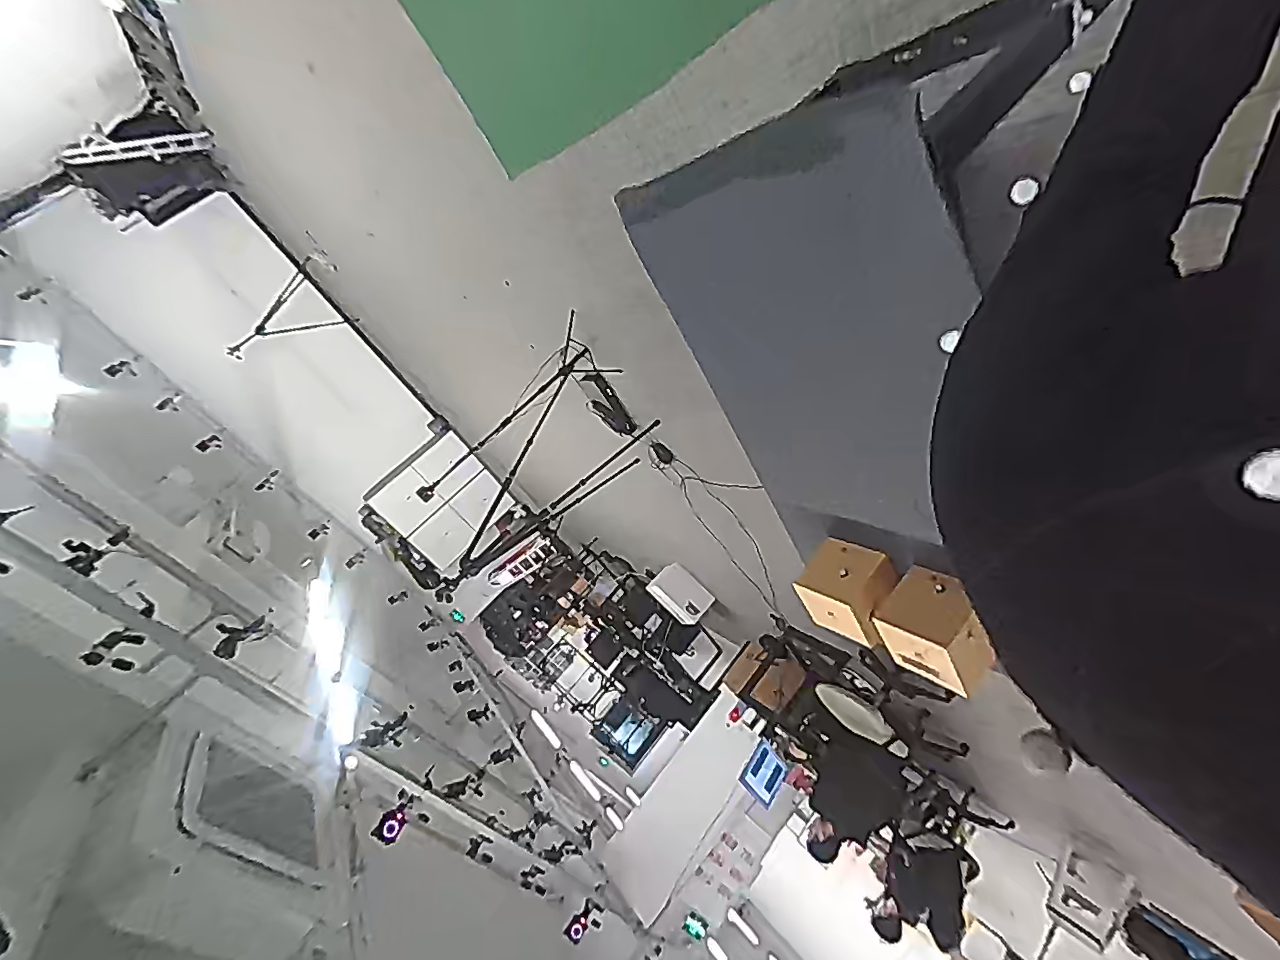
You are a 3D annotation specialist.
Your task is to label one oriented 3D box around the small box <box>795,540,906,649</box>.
[{"bbox_3d":[0.525,0.276,1.341,0.168,0.176,0.179,15,147,55],"label":"small box"}]
